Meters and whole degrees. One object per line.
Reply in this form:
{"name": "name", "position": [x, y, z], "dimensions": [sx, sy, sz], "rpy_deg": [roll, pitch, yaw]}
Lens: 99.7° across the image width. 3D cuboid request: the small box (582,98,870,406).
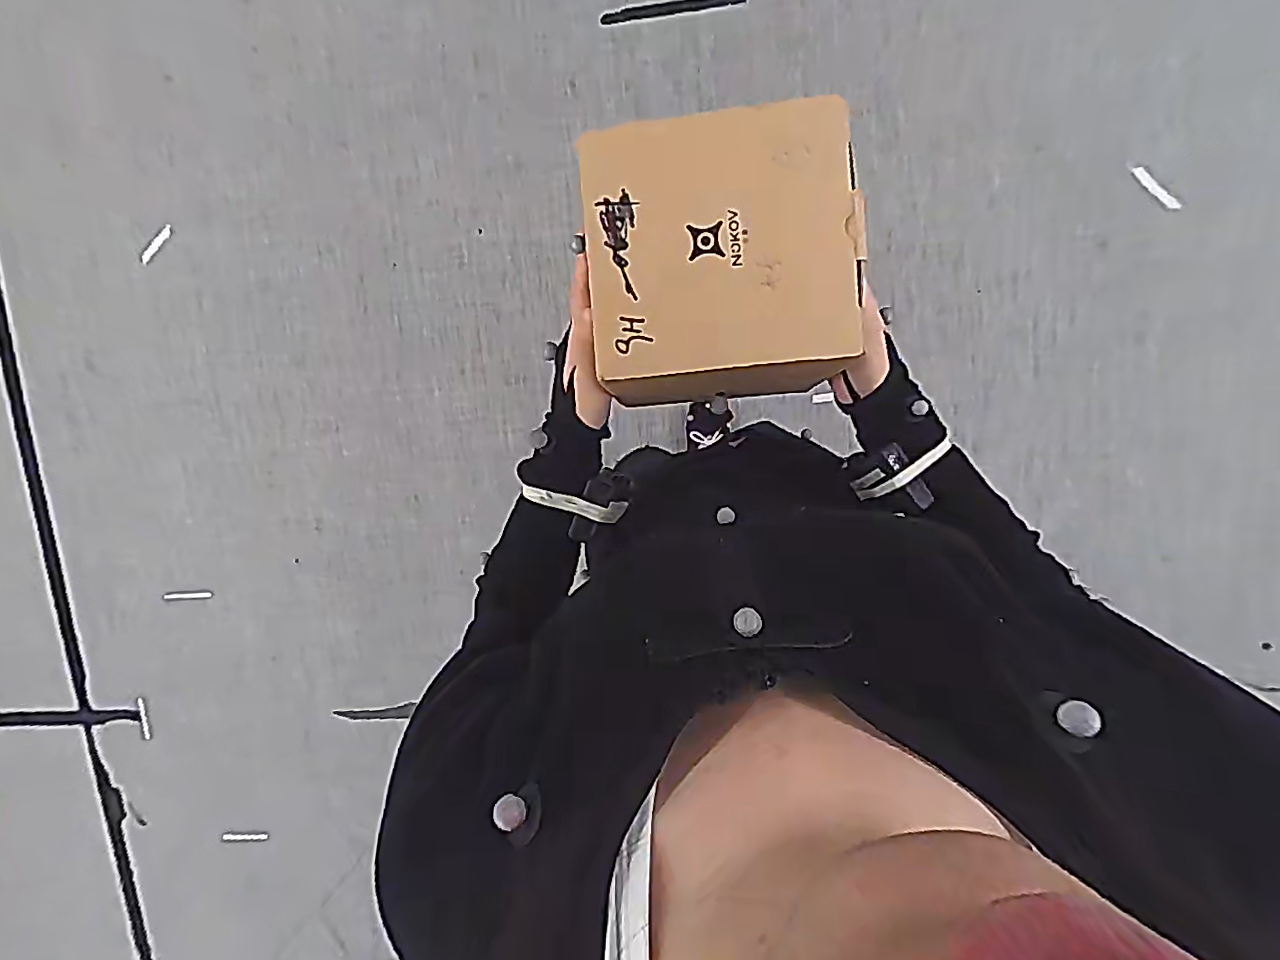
{"name": "small box", "position": [0.059, -0.155, 0.428], "dimensions": [0.179, 0.176, 0.168], "rpy_deg": [-5, 90, 4]}
